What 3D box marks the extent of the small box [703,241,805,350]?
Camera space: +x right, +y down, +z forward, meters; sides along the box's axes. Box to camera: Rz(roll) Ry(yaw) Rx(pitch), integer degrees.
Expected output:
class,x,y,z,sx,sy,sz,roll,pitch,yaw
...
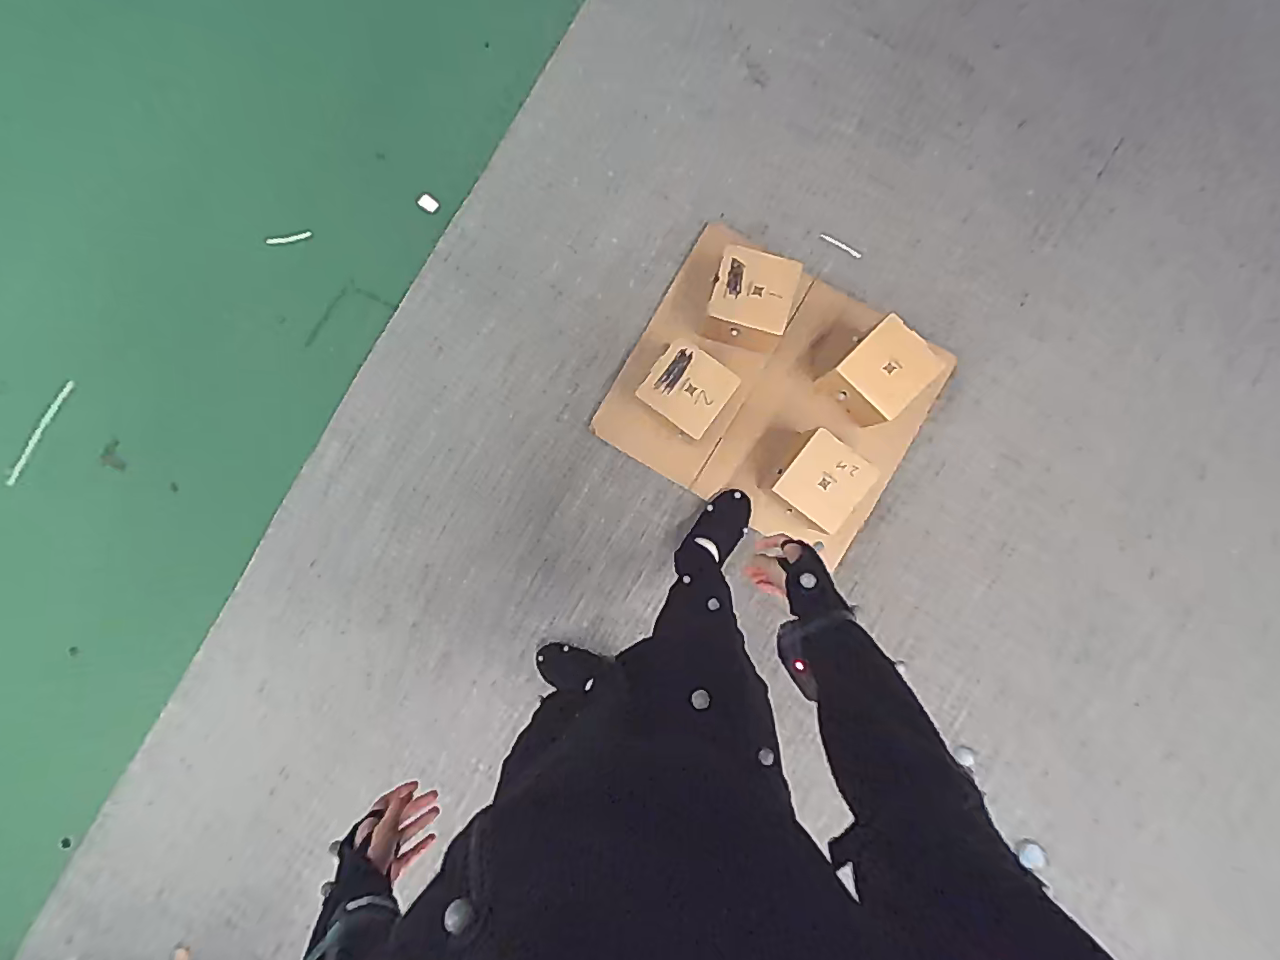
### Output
class,x,y,z,sx,sy,sz,roll,pitch,yaw
small box,0.251,-0.414,1.244,0.179,0.176,0.168,17,89,1

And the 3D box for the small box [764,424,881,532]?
class,x,y,z,sx,sy,sz,roll,pitch,yaw
small box,0.400,-0.003,1.227,0.168,0.176,0.179,38,90,2

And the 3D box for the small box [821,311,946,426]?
class,x,y,z,sx,sy,sz,roll,pitch,yaw
small box,0.537,-0.243,1.230,0.179,0.176,0.168,-45,88,-1
